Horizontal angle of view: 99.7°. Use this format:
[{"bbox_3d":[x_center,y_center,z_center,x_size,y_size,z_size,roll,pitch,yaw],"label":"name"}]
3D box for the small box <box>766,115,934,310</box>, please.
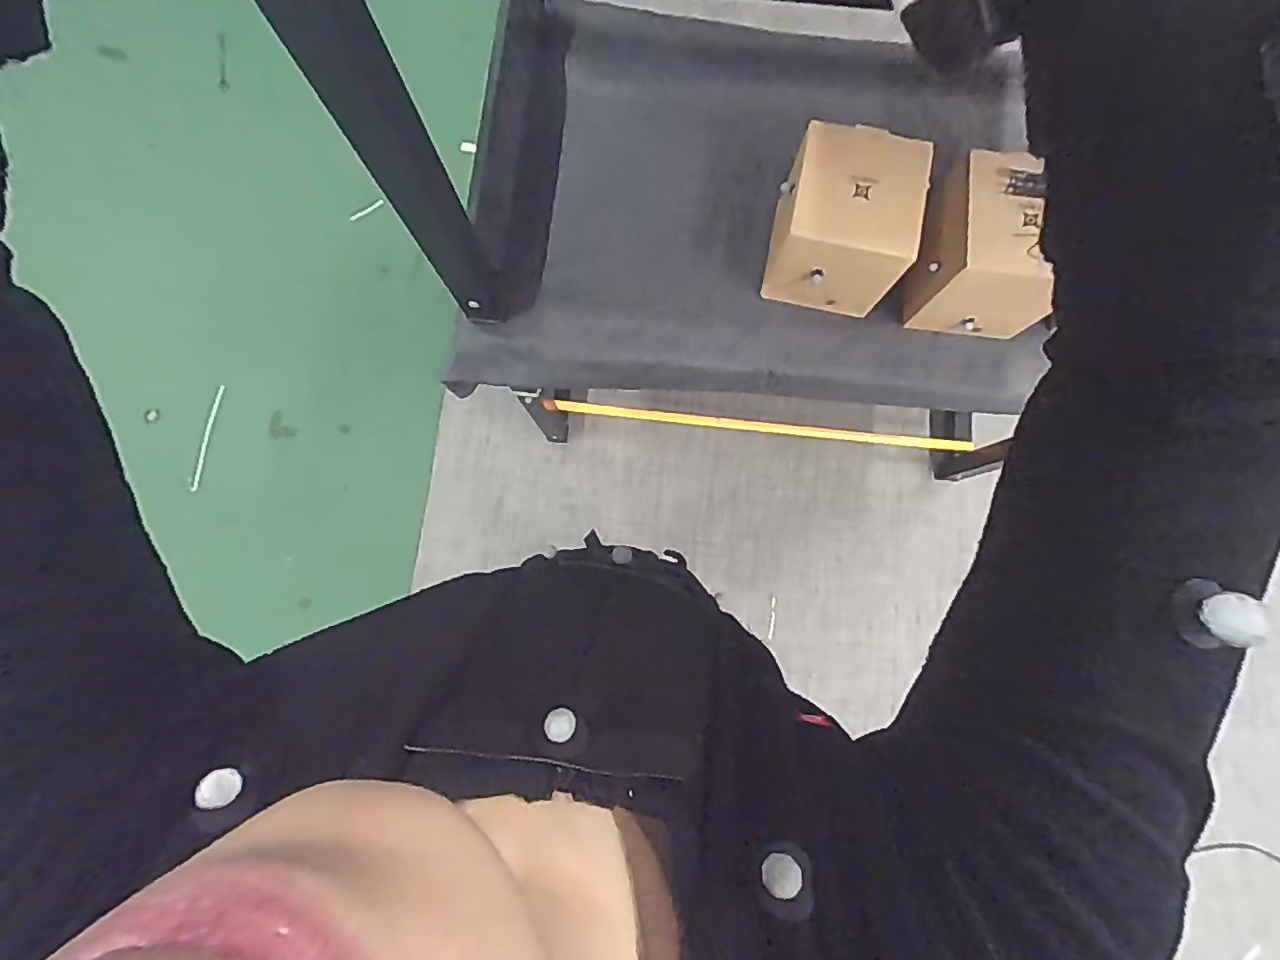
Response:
[{"bbox_3d":[0.288,-0.370,0.778,0.168,0.176,0.179,12,81,2],"label":"small box"}]
